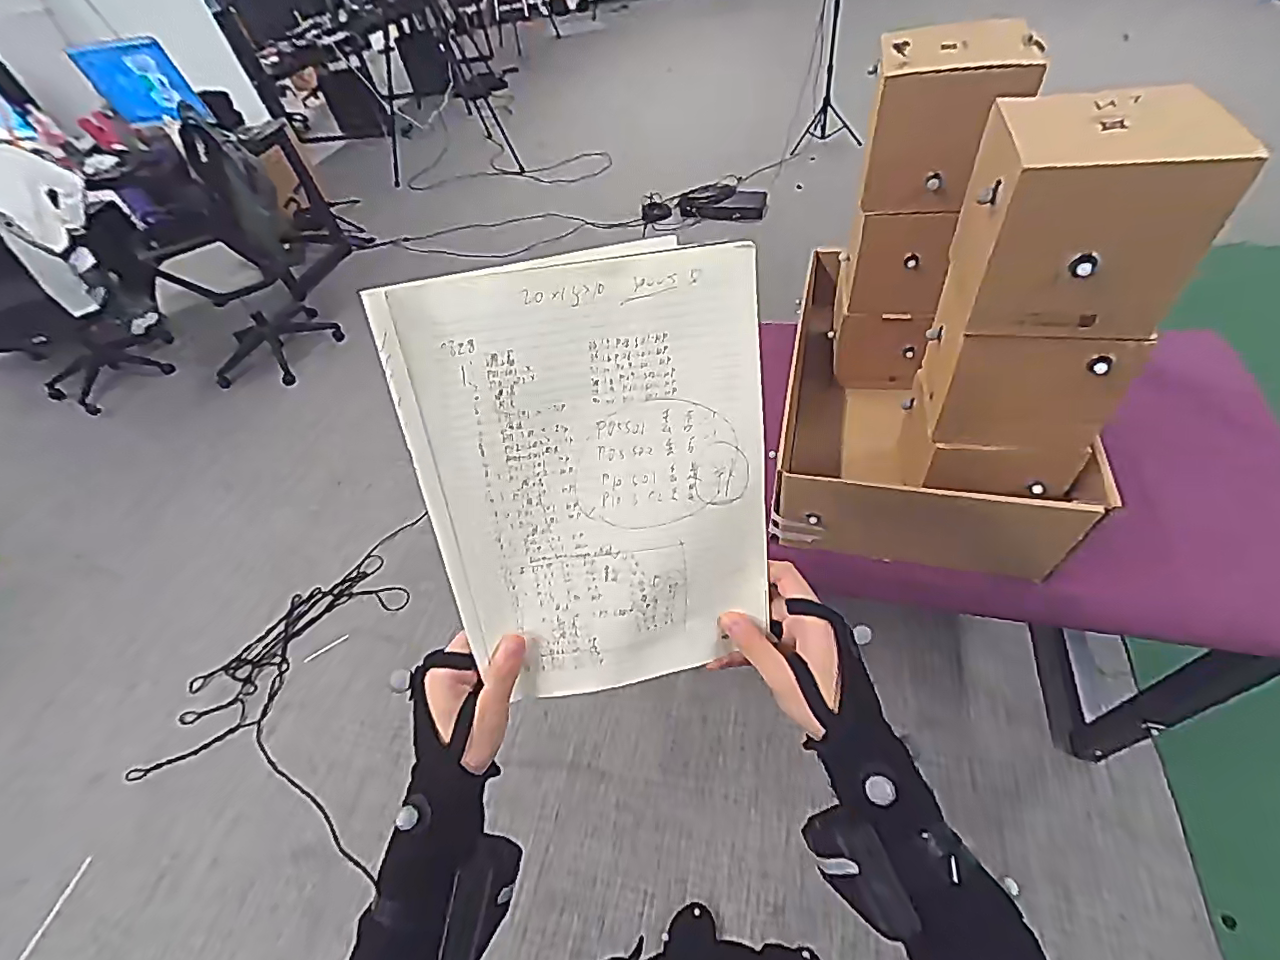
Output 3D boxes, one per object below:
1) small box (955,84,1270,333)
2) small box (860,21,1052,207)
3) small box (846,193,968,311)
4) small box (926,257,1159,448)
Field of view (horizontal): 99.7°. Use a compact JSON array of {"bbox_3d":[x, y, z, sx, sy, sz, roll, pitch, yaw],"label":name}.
[{"bbox_3d":[0.434,-0.264,0.540,0.168,0.176,0.179,7,51,16],"label":"small box"},{"bbox_3d":[0.412,-0.491,0.737,0.179,0.176,0.168,8,53,14],"label":"small box"},{"bbox_3d":[0.436,-0.387,0.862,0.179,0.176,0.168,5,53,14],"label":"small box"},{"bbox_3d":[0.463,-0.157,0.662,0.179,0.176,0.168,8,51,16],"label":"small box"}]
